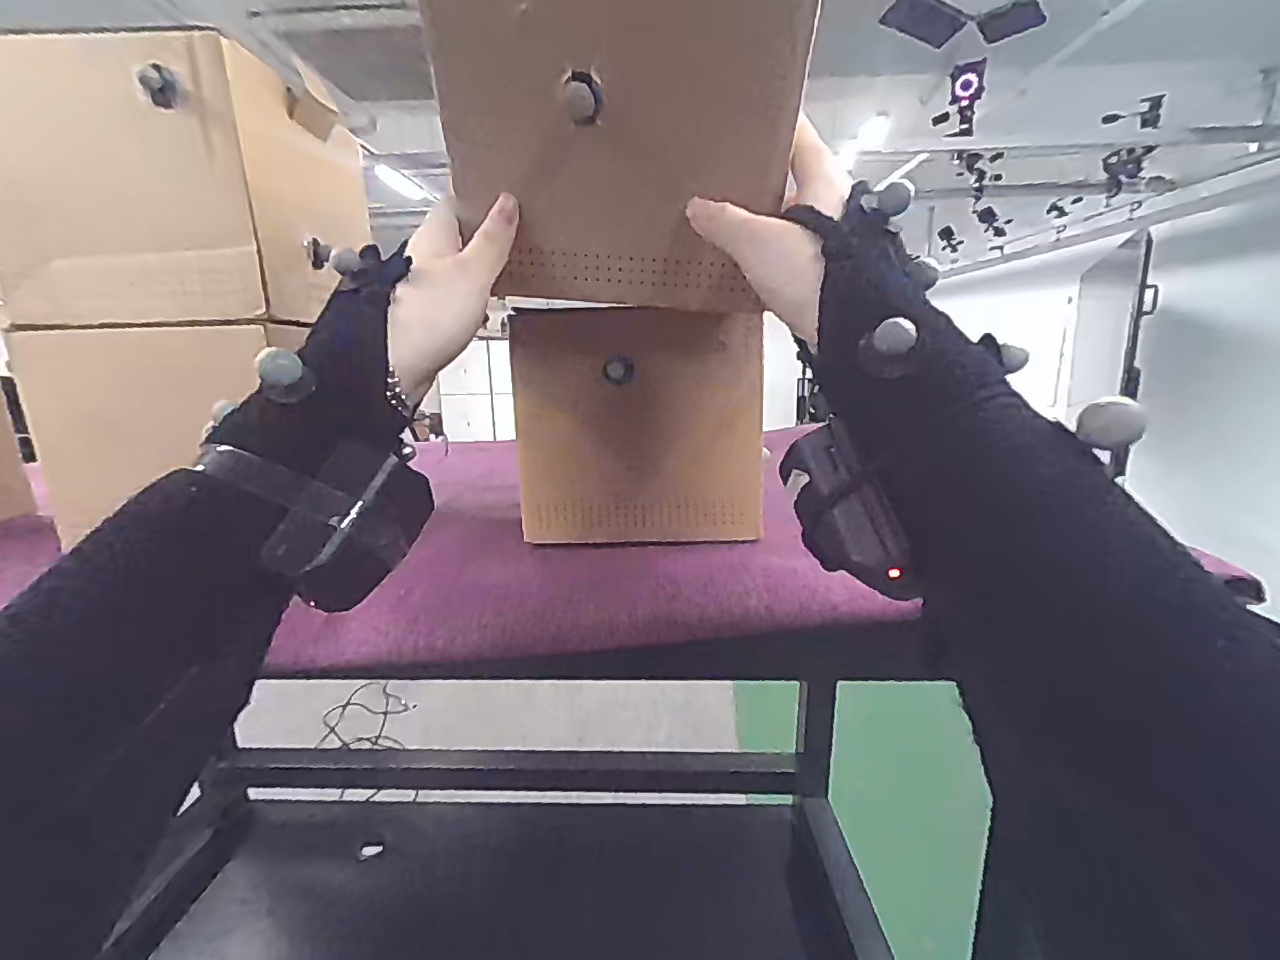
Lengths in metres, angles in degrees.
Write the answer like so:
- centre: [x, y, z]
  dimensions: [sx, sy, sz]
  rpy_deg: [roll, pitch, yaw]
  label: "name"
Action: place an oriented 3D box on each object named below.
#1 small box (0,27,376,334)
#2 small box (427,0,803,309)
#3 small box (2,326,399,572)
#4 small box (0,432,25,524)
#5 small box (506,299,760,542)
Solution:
- centre: [-0.328, -0.192, 0.406]
  dimensions: [0.179, 0.176, 0.168]
  rpy_deg: [-2, 13, -1]
  label: "small box"
- centre: [-0.006, -0.214, 0.324]
  dimensions: [0.179, 0.176, 0.168]
  rpy_deg: [4, 41, 4]
  label: "small box"
- centre: [-0.320, -0.033, 0.440]
  dimensions: [0.179, 0.176, 0.168]
  rpy_deg: [-3, 13, 1]
  label: "small box"
- centre: [-0.663, -0.022, 0.420]
  dimensions: [0.168, 0.176, 0.179]
  rpy_deg: [0, 14, 0]
  label: "small box"
- centre: [0.002, -0.049, 0.453]
  dimensions: [0.179, 0.176, 0.168]
  rpy_deg: [-1, 11, 4]
  label: "small box"
